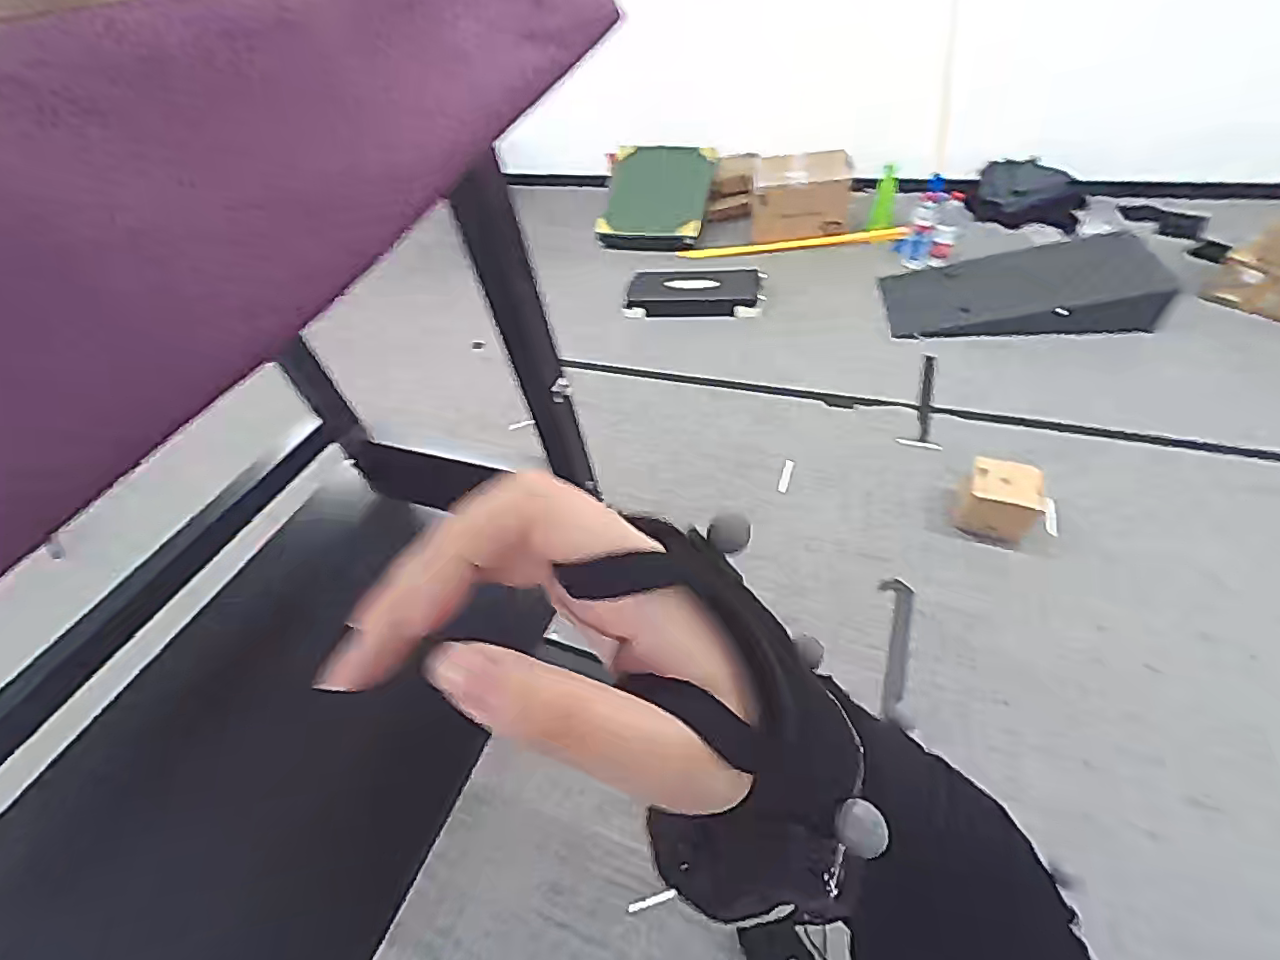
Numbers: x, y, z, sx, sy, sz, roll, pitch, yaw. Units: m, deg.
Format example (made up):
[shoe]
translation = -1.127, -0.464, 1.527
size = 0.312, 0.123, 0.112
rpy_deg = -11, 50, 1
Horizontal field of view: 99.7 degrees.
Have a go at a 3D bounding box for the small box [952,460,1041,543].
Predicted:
[small box]
translation = 1.073, 0.069, 1.634
size = 0.179, 0.176, 0.168
rpy_deg = 15, 53, 19
